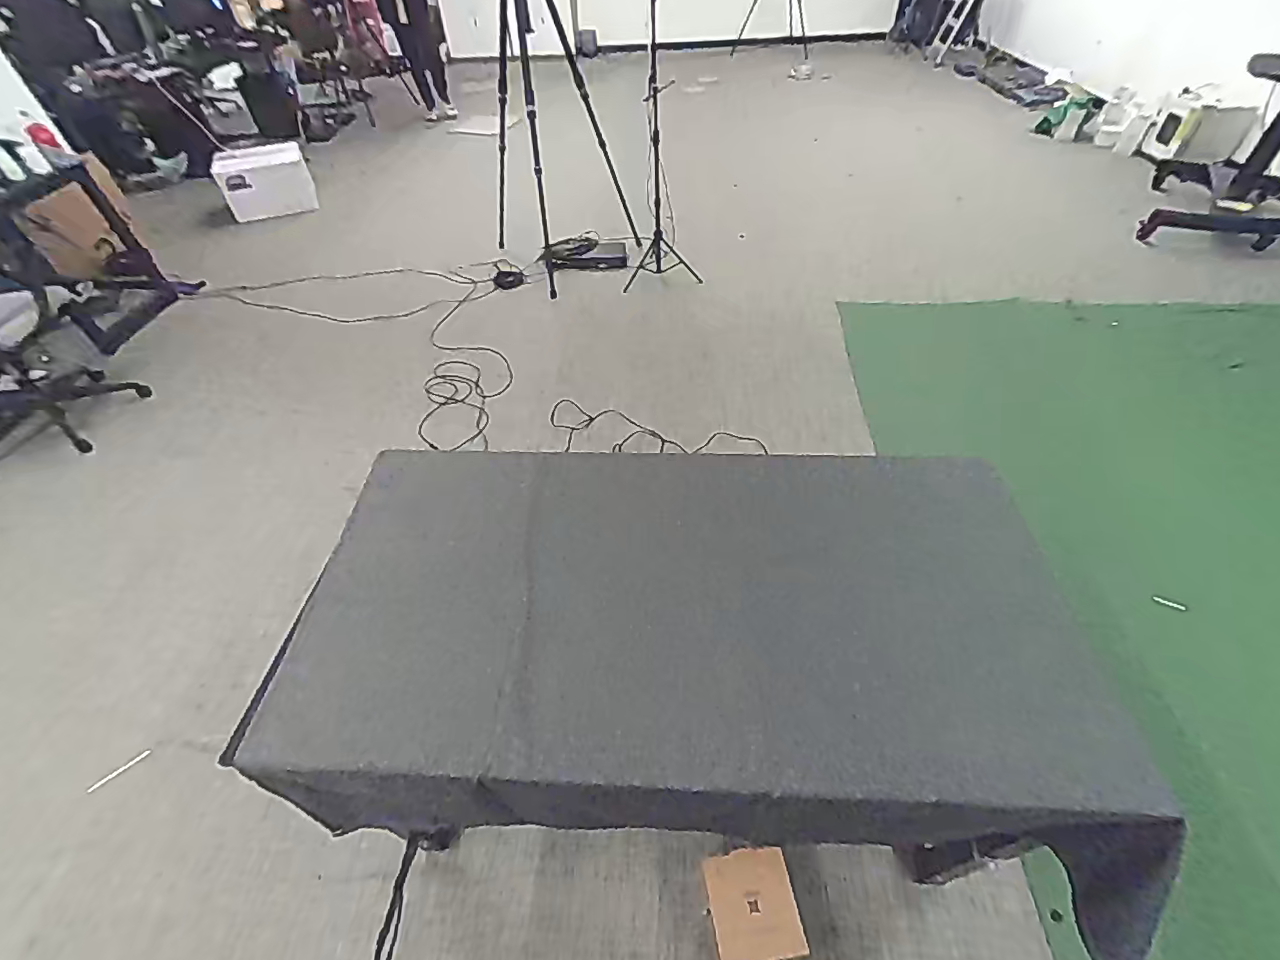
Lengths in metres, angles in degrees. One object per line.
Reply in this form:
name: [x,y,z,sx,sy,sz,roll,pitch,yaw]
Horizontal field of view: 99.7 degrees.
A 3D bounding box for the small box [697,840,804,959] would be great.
small box: [0.214,0.865,1.102,0.168,0.176,0.179,-8,47,-4]
